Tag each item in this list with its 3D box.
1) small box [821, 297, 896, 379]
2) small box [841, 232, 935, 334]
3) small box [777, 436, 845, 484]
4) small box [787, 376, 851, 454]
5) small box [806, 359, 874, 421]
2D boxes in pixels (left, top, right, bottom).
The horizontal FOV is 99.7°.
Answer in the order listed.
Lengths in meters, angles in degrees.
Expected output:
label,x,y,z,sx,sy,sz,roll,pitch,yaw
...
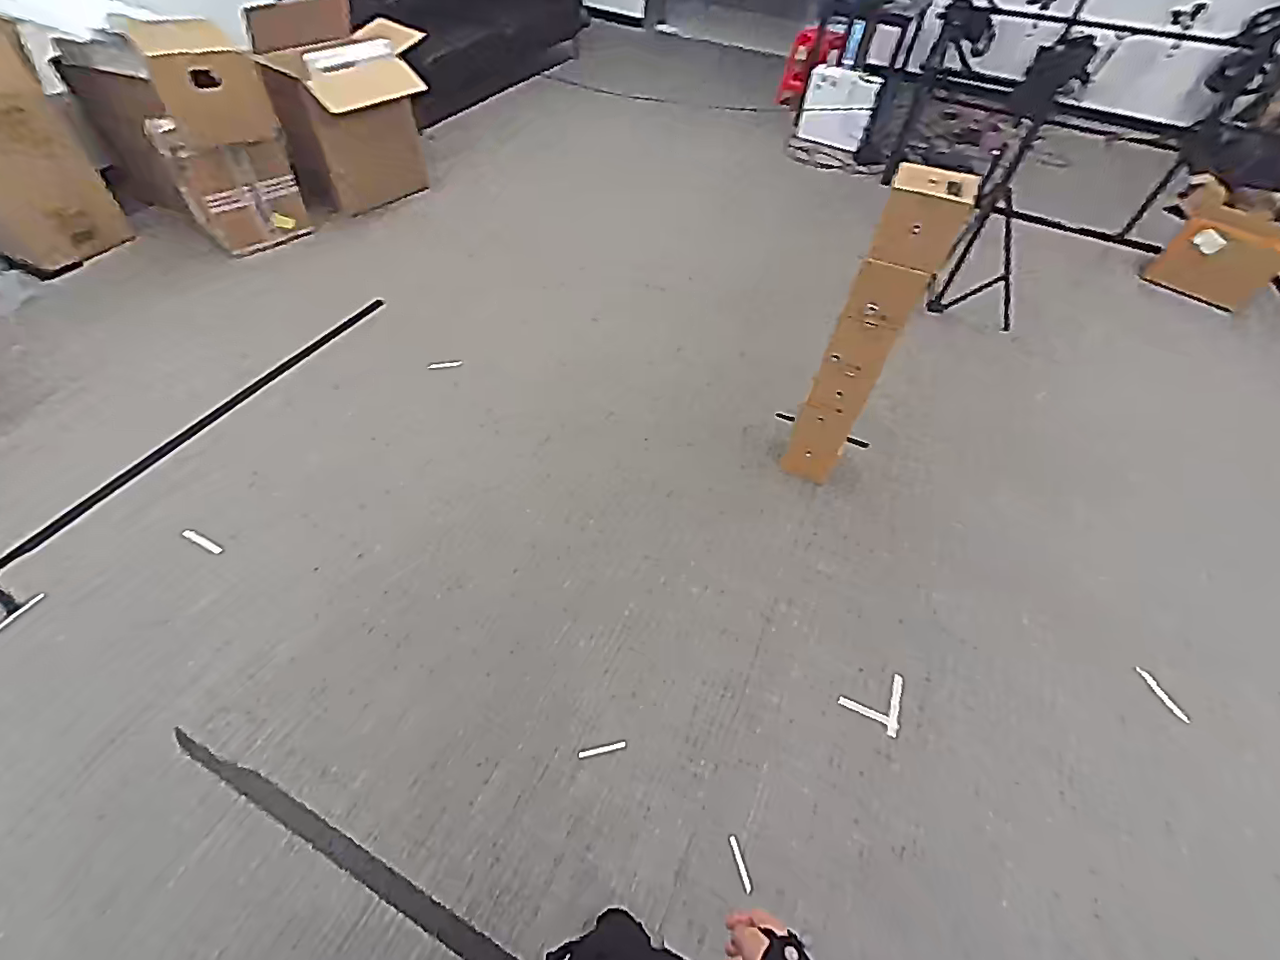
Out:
label,x,y,z,sx,sy,sz,roll,pitch,yaw
small box,0.638,-0.418,1.555,0.168,0.176,0.179,23,53,14
small box,0.650,-0.519,1.428,0.168,0.176,0.179,21,54,14
small box,0.612,-0.110,1.937,0.179,0.176,0.168,22,54,14
small box,0.613,-0.213,1.808,0.179,0.176,0.168,24,55,15
small box,0.631,-0.313,1.681,0.168,0.176,0.179,24,55,15
